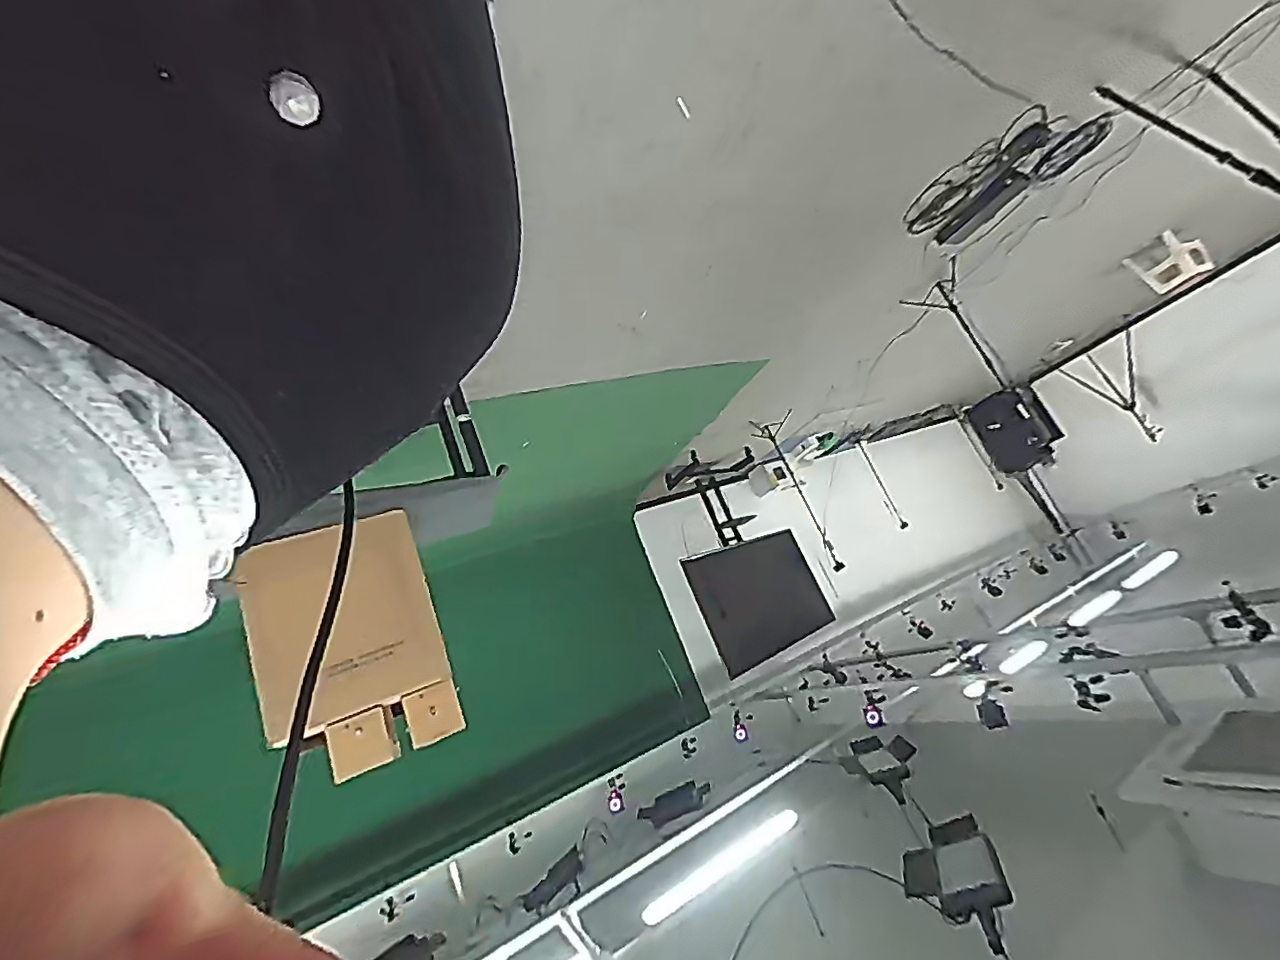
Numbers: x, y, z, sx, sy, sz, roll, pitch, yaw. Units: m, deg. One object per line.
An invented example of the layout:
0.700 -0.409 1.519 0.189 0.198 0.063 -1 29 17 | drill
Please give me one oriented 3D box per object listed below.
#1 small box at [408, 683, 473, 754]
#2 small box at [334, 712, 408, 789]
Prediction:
-0.680 0.807 1.840 0.168 0.176 0.179 -18 163 -26 | small box
-0.861 0.861 1.737 0.168 0.176 0.179 -18 162 -21 | small box
